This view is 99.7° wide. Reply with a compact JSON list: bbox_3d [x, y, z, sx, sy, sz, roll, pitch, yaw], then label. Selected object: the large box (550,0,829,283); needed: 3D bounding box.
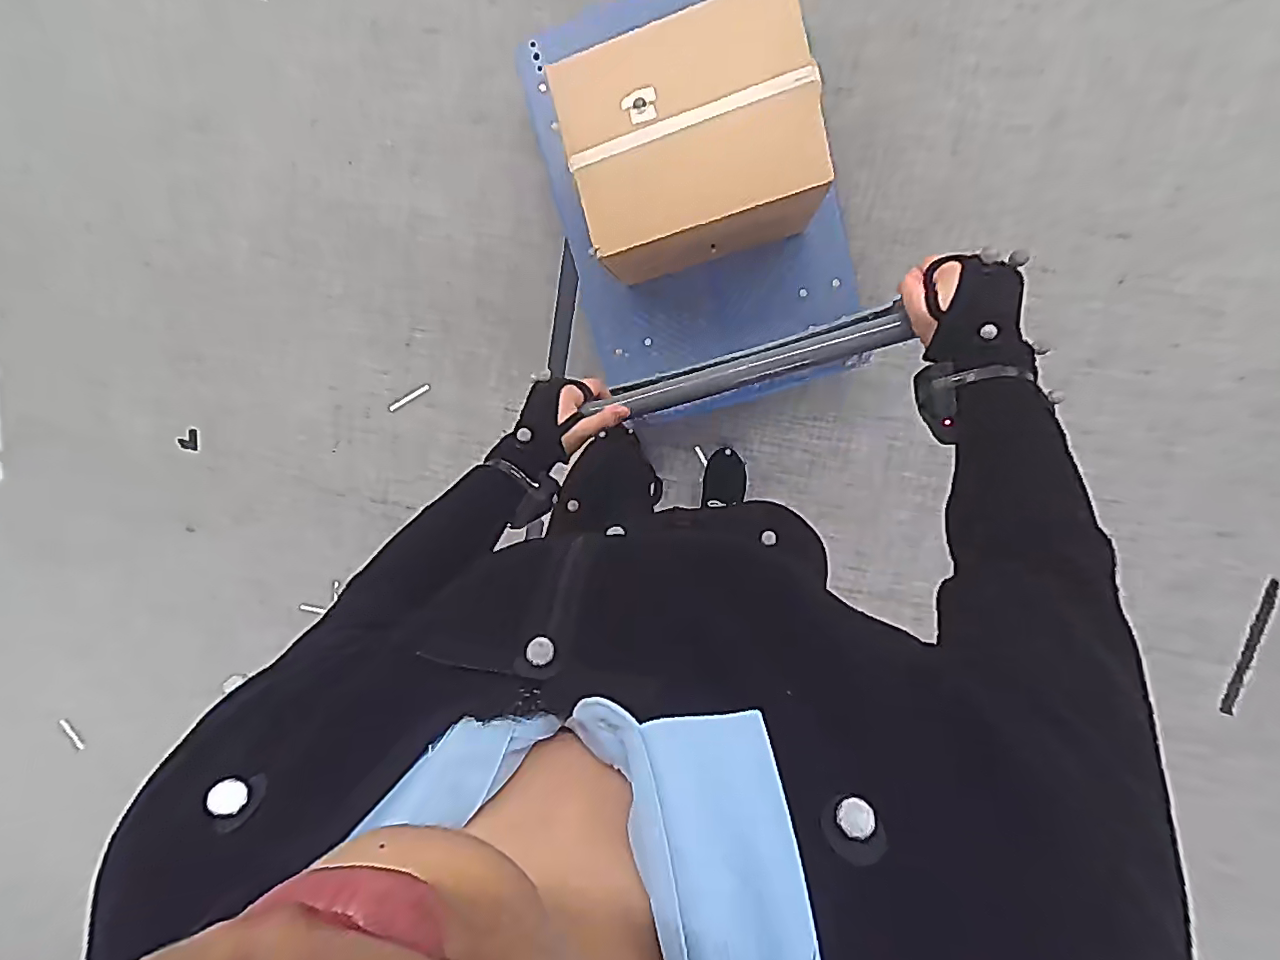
[{"bbox_3d":[0.099,-0.610,1.030,0.408,0.320,0.320,-14,97,11],"label":"large box"}]
